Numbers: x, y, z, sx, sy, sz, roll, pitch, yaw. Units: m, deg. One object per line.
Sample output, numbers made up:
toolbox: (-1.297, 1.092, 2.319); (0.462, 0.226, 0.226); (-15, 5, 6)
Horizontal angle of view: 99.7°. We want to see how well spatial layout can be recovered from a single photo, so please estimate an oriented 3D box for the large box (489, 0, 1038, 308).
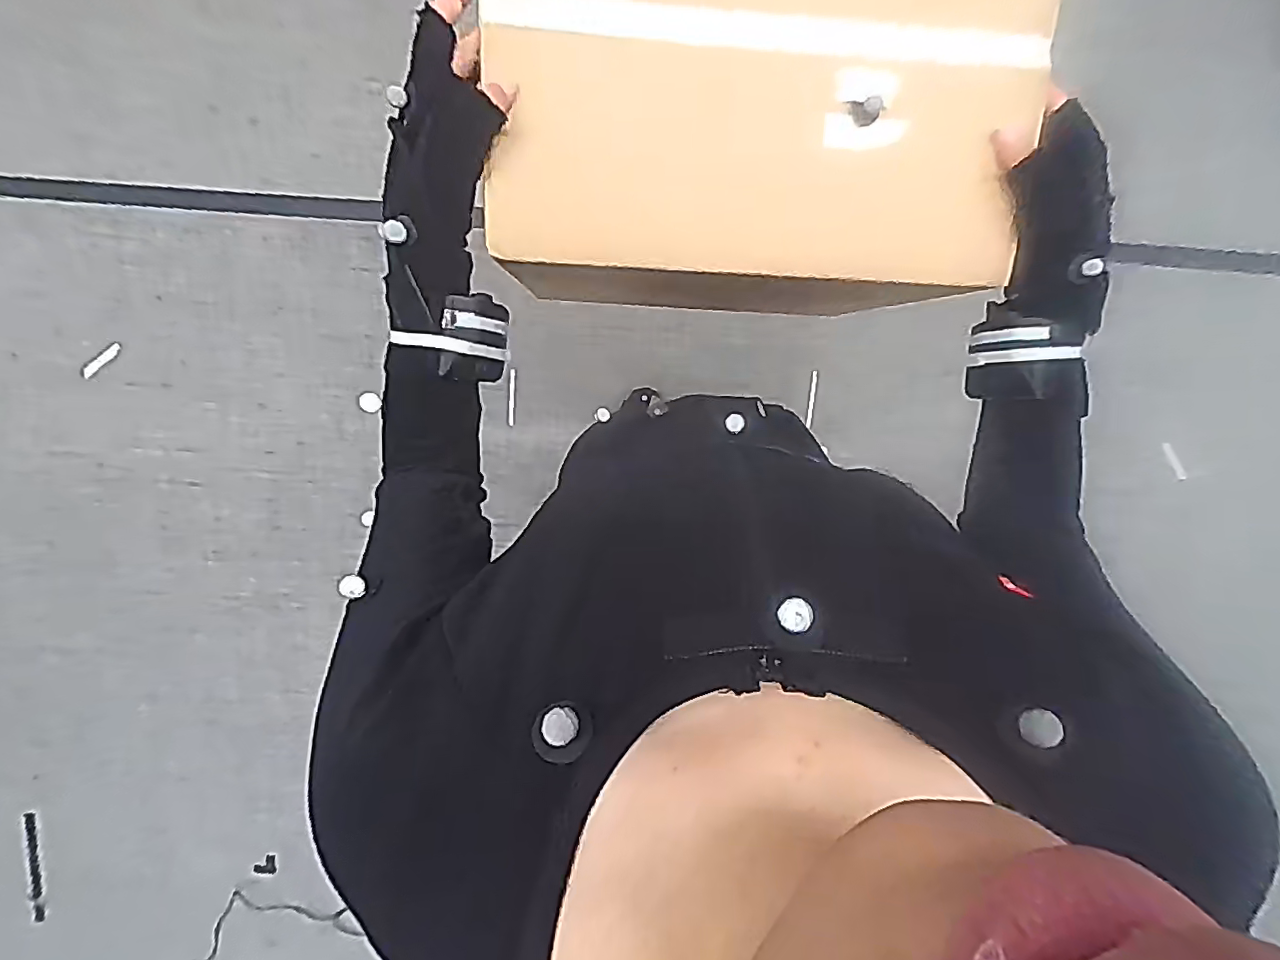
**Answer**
large box: (0.078, -0.348, 0.534); (0.408, 0.320, 0.320); (1, 103, -5)
